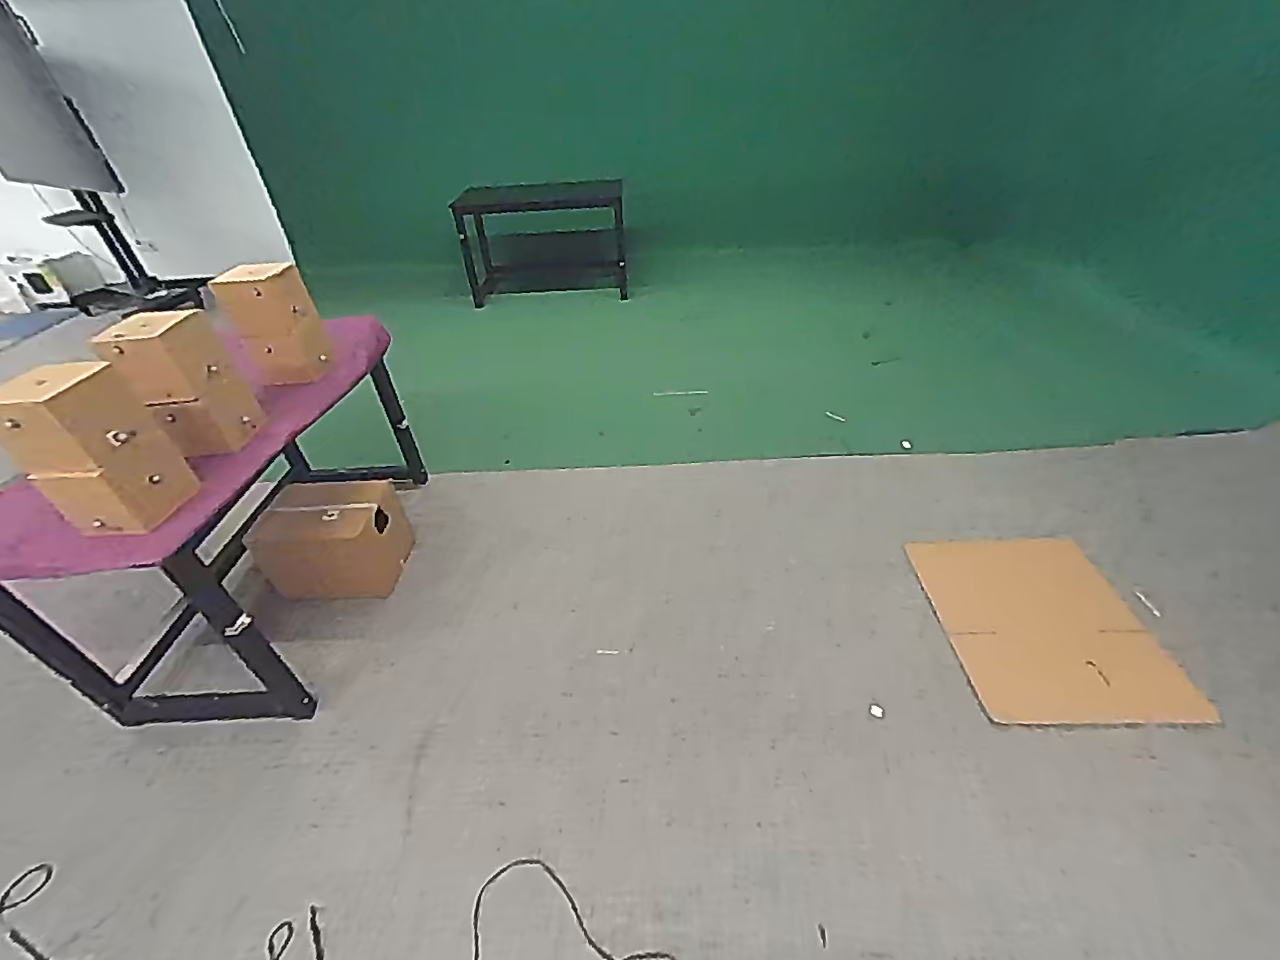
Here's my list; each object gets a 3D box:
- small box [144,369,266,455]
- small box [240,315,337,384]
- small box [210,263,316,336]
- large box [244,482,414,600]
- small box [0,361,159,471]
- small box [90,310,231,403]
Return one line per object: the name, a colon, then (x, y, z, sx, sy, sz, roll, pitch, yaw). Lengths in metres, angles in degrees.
small box: (-1.160, -0.179, 1.443, 0.179, 0.176, 0.168, -4, 39, 1)
small box: (-1.129, -0.422, 1.753, 0.179, 0.176, 0.168, -2, 39, 2)
small box: (-1.143, -0.550, 1.654, 0.179, 0.176, 0.168, -2, 38, 1)
large box: (-1.120, 0.225, 2.003, 0.408, 0.320, 0.320, -2, 39, 1)
small box: (-1.176, -0.130, 1.118, 0.179, 0.176, 0.168, -1, 39, 4)
small box: (-1.168, -0.306, 1.341, 0.168, 0.176, 0.179, -5, 37, 1)
